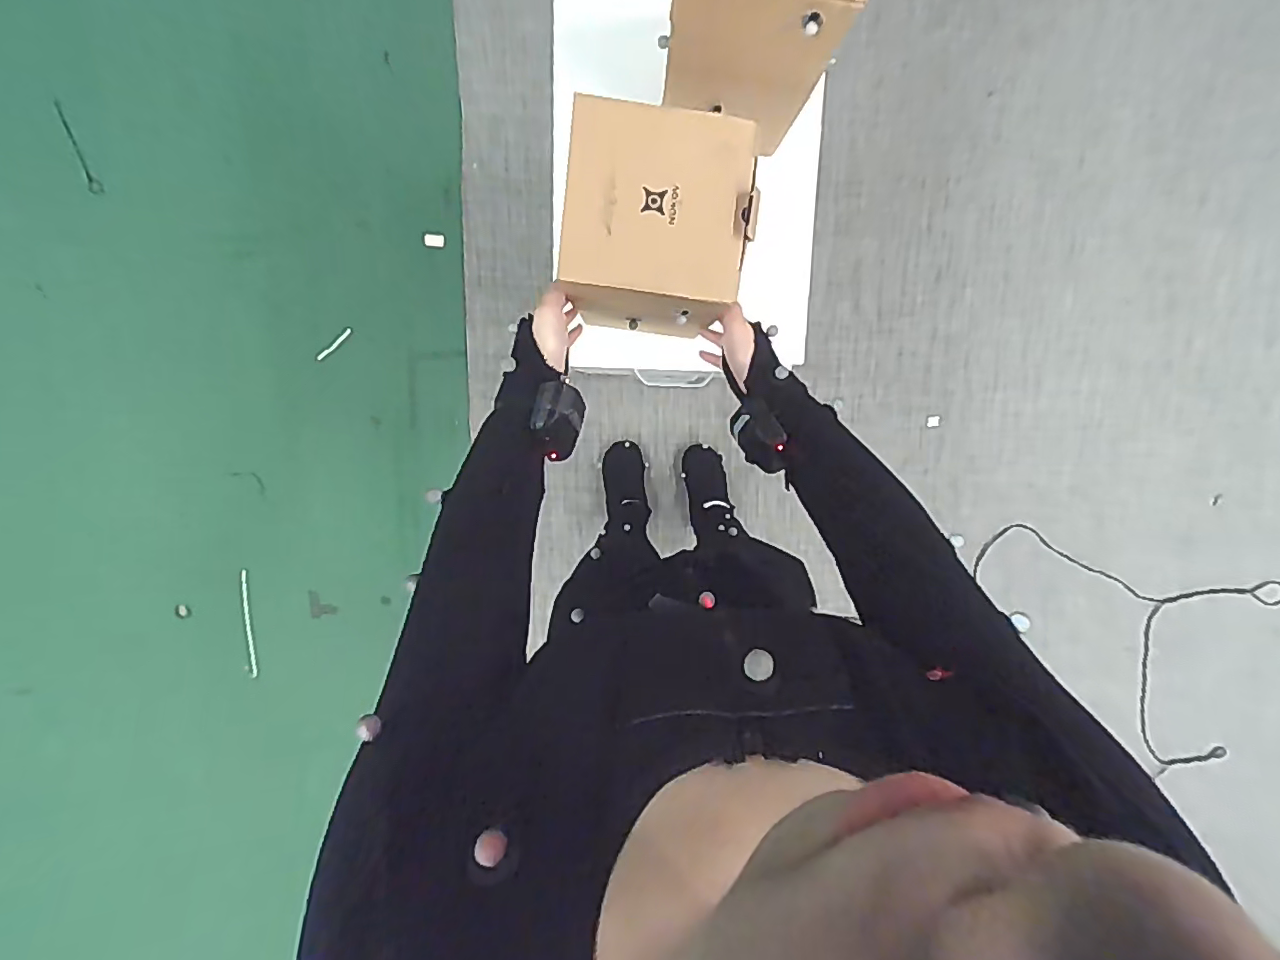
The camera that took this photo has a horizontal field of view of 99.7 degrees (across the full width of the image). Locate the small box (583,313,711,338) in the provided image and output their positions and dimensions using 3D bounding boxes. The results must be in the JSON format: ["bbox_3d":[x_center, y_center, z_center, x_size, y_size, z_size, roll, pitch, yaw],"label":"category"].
[{"bbox_3d":[0.012,-0.295,0.744,0.179,0.176,0.168,7,98,-3],"label":"small box"}]

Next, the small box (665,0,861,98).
[{"bbox_3d":[0.124,-0.527,0.549,0.179,0.176,0.168,8,99,-3],"label":"small box"}]

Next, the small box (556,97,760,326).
[{"bbox_3d":[0.013,-0.268,0.584,0.179,0.176,0.168,6,97,-3],"label":"small box"}]

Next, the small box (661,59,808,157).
[{"bbox_3d":[0.125,-0.555,0.709,0.179,0.176,0.168,8,99,-2],"label":"small box"}]
